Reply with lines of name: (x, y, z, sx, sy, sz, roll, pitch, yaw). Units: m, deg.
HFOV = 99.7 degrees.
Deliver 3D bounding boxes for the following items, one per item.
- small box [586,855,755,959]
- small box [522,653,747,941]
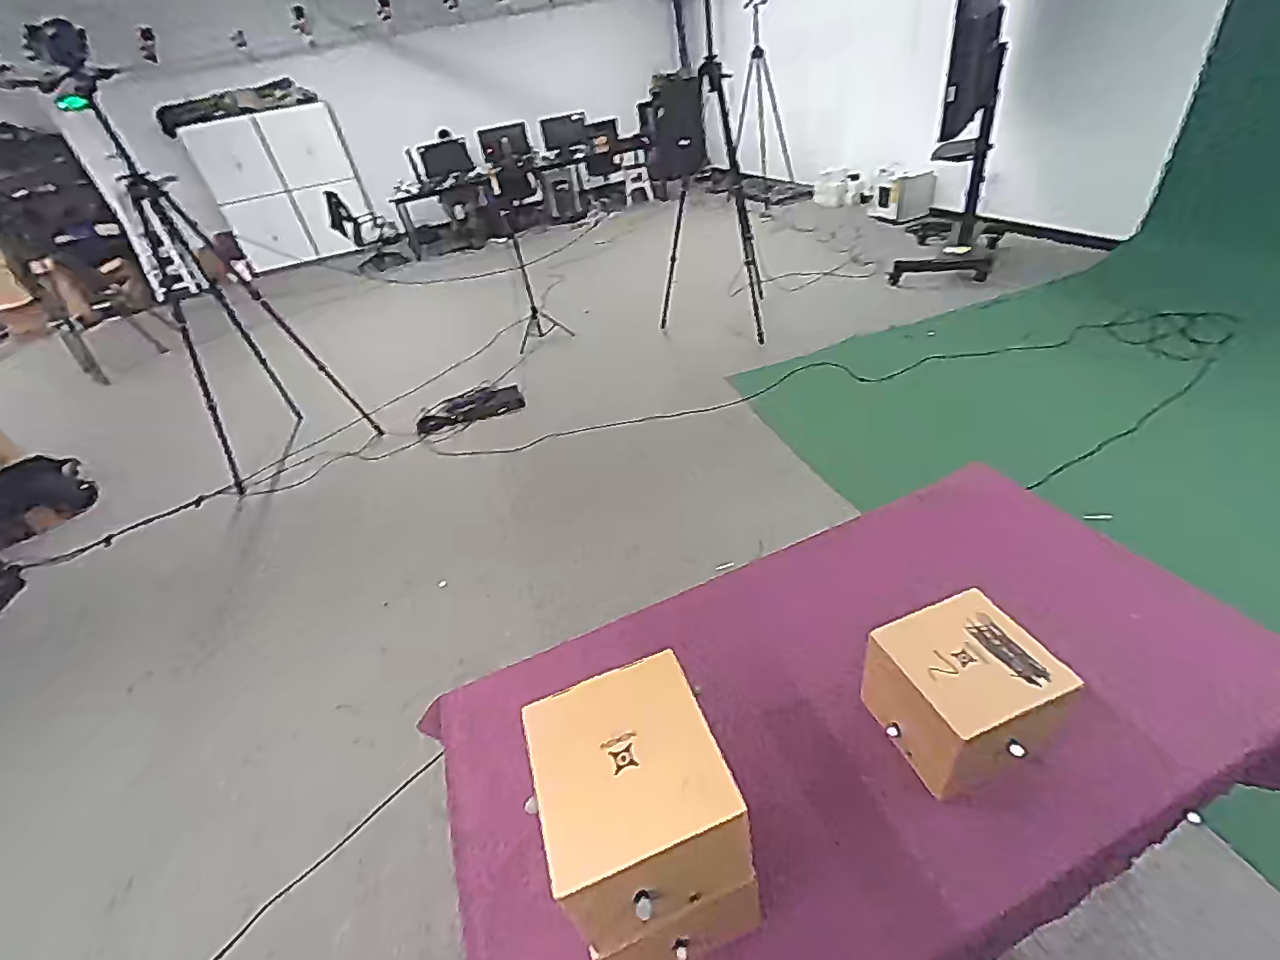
small box: (0.020, 0.446, 0.635, 0.179, 0.176, 0.168, -20, 37, -10)
small box: (-0.004, 0.316, 0.540, 0.168, 0.176, 0.179, -19, 36, -10)
